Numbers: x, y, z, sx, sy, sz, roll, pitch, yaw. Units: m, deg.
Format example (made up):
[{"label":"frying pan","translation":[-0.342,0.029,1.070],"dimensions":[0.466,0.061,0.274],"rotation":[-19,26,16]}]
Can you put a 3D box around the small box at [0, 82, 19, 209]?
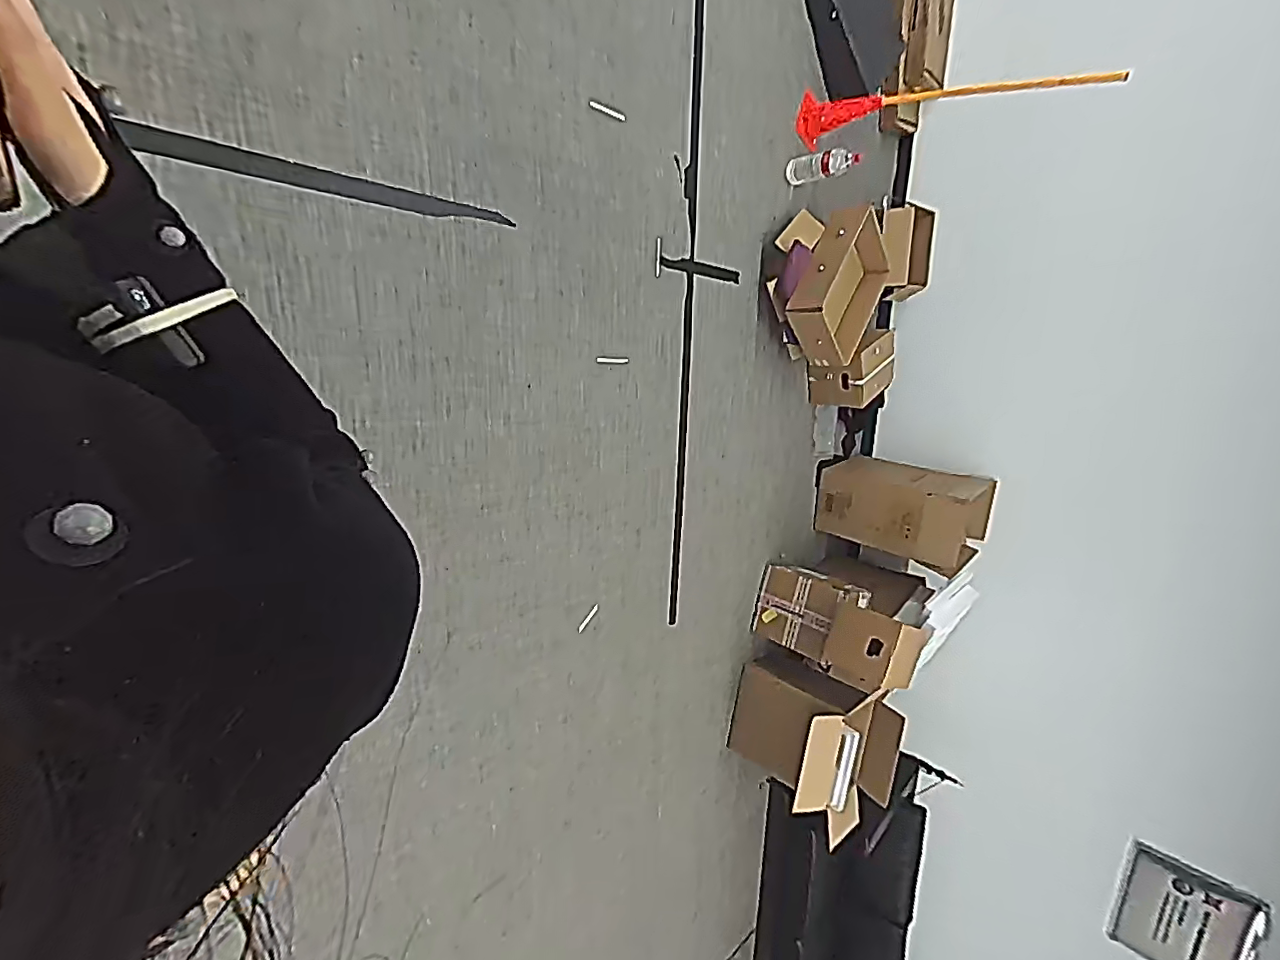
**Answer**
[{"label":"small box","translation":[-0.380,-0.229,0.206],"dimensions":[0.168,0.176,0.179],"rotation":[-13,104,-45]}]
